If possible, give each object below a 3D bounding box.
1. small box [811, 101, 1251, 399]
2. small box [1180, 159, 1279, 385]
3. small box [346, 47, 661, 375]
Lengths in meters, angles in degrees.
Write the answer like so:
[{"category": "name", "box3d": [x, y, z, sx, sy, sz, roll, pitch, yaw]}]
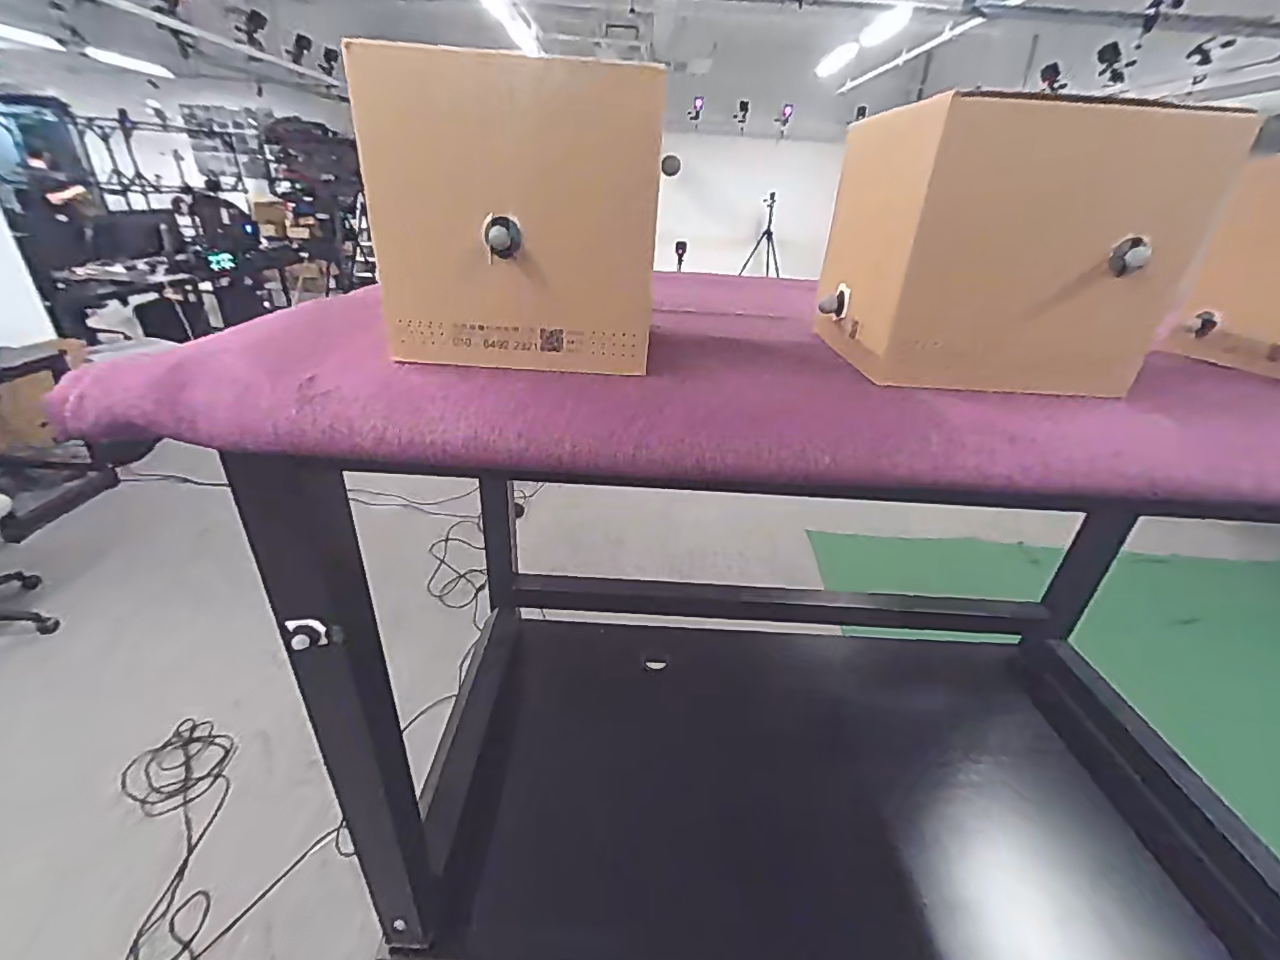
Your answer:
[{"category": "small box", "box3d": [0.247, -0.165, 0.401, 0.179, 0.176, 0.168, 2, 28, -1]}, {"category": "small box", "box3d": [0.595, -0.159, 0.426, 0.179, 0.176, 0.168, 4, 26, 0]}, {"category": "small box", "box3d": [-0.074, -0.182, 0.386, 0.168, 0.176, 0.179, 4, 29, -2]}]
